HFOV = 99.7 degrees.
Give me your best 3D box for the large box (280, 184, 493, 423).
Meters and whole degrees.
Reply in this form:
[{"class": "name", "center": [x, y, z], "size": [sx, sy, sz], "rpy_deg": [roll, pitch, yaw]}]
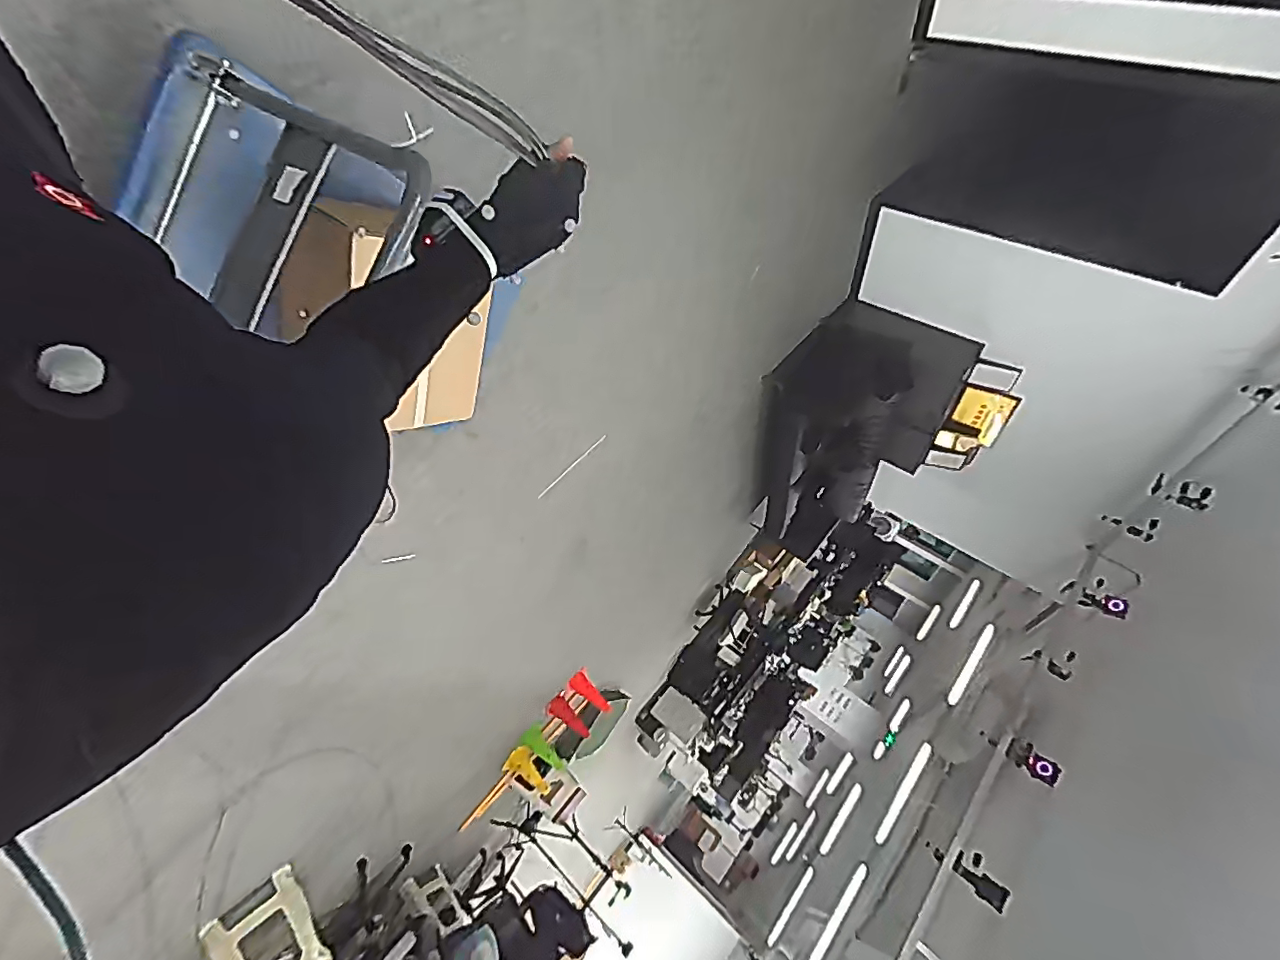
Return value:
[{"class": "large box", "center": [-0.572, -0.386, 1.213], "size": [0.320, 0.320, 0.408], "rpy_deg": [-19, 135, -50]}]
